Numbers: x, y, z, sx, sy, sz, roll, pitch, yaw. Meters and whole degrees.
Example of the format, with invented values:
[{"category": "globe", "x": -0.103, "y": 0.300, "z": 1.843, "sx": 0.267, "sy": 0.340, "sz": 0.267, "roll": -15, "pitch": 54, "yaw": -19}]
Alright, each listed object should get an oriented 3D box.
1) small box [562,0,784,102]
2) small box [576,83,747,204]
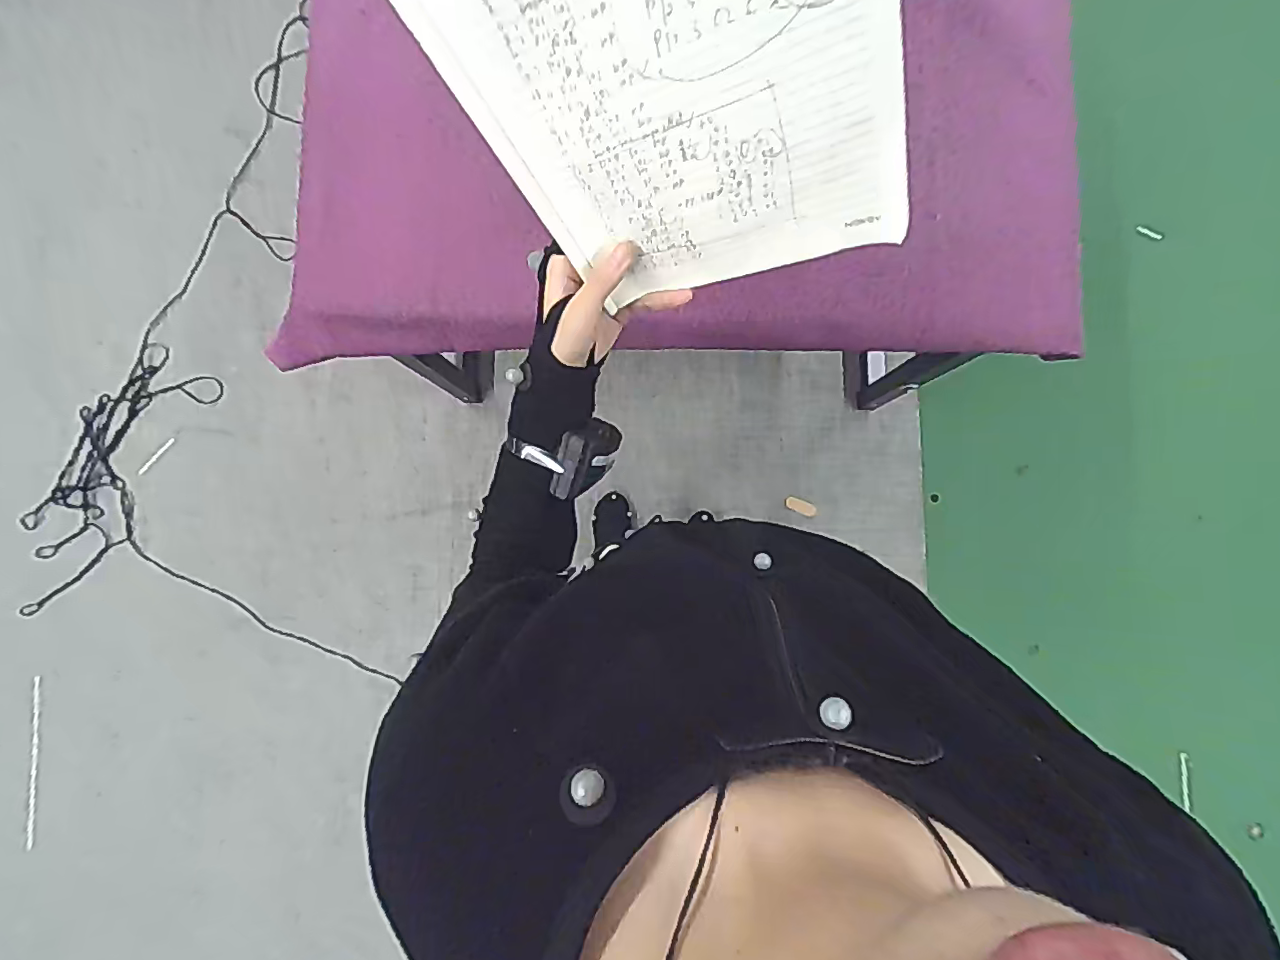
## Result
[{"category": "small box", "x": 0.031, "y": -0.441, "z": 0.432, "sx": 0.179, "sy": 0.176, "sz": 0.168, "roll": 3, "pitch": 84, "yaw": 2}, {"category": "small box", "x": 0.026, "y": -0.431, "z": 0.597, "sx": 0.168, "sy": 0.176, "sz": 0.179, "roll": 1, "pitch": 84, "yaw": 2}]
